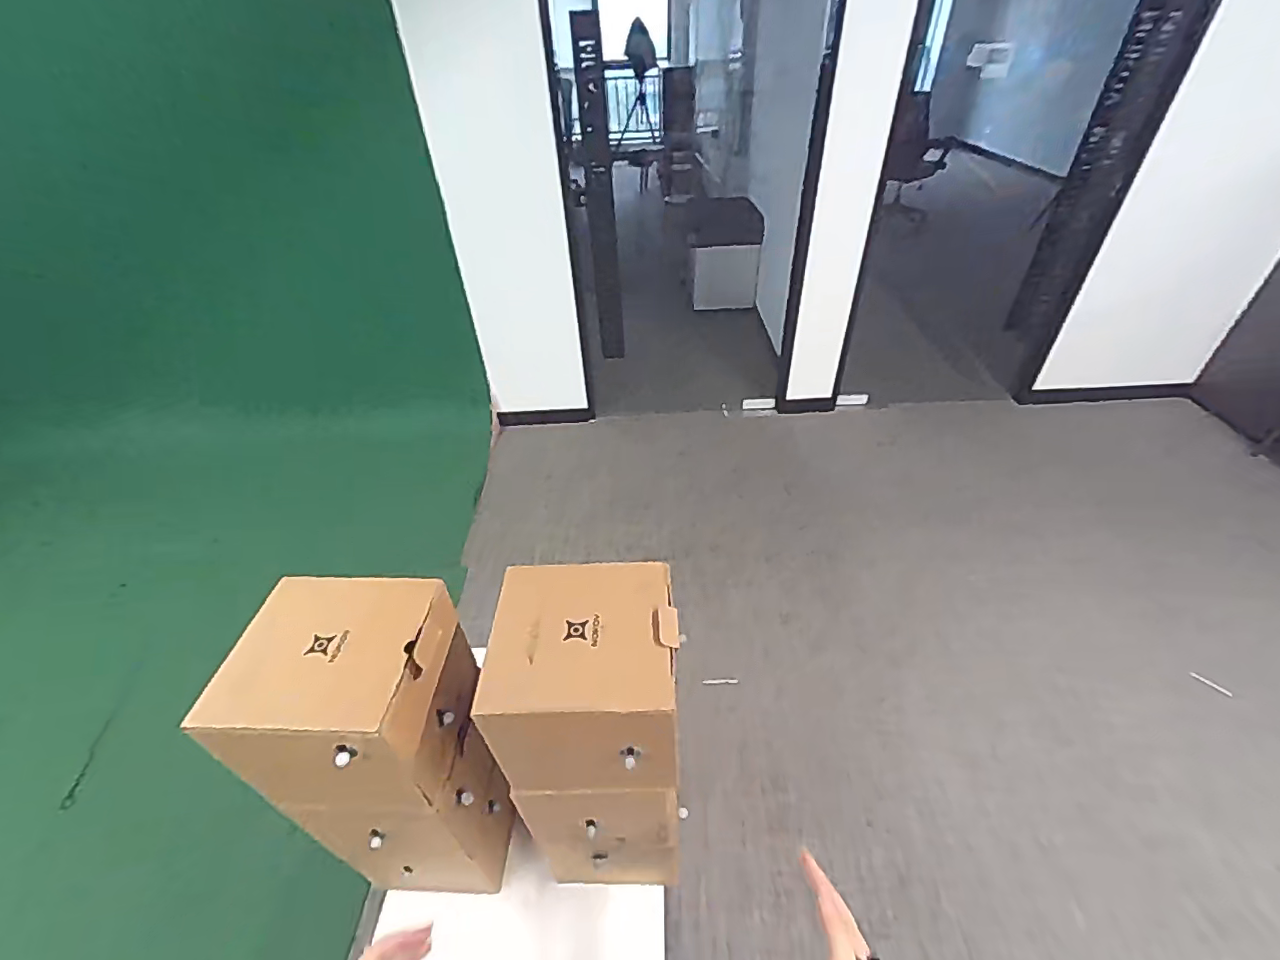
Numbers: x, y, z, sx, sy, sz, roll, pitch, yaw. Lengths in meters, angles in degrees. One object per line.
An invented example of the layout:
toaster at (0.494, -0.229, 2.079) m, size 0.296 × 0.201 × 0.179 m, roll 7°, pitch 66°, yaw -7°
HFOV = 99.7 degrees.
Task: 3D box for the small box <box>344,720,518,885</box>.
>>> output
small box at (-0.282, 0.467, 0.785) m, size 0.179 × 0.176 × 0.168 m, roll 1°, pitch 41°, yaw 1°

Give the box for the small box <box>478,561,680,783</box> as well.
small box at (-0.048, 0.203, 0.574) m, size 0.179 × 0.176 × 0.168 m, roll -2°, pitch 41°, yaw 3°

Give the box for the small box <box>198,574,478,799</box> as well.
small box at (-0.291, 0.218, 0.572) m, size 0.179 × 0.176 × 0.168 m, roll 0°, pitch 40°, yaw 2°

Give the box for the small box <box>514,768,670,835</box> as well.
small box at (-0.048, 0.328, 0.681) m, size 0.168 × 0.176 × 0.179 m, roll -2°, pitch 40°, yaw 1°

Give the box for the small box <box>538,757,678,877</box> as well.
small box at (-0.035, 0.455, 0.784) m, size 0.179 × 0.176 × 0.168 m, roll -1°, pitch 41°, yaw 3°
